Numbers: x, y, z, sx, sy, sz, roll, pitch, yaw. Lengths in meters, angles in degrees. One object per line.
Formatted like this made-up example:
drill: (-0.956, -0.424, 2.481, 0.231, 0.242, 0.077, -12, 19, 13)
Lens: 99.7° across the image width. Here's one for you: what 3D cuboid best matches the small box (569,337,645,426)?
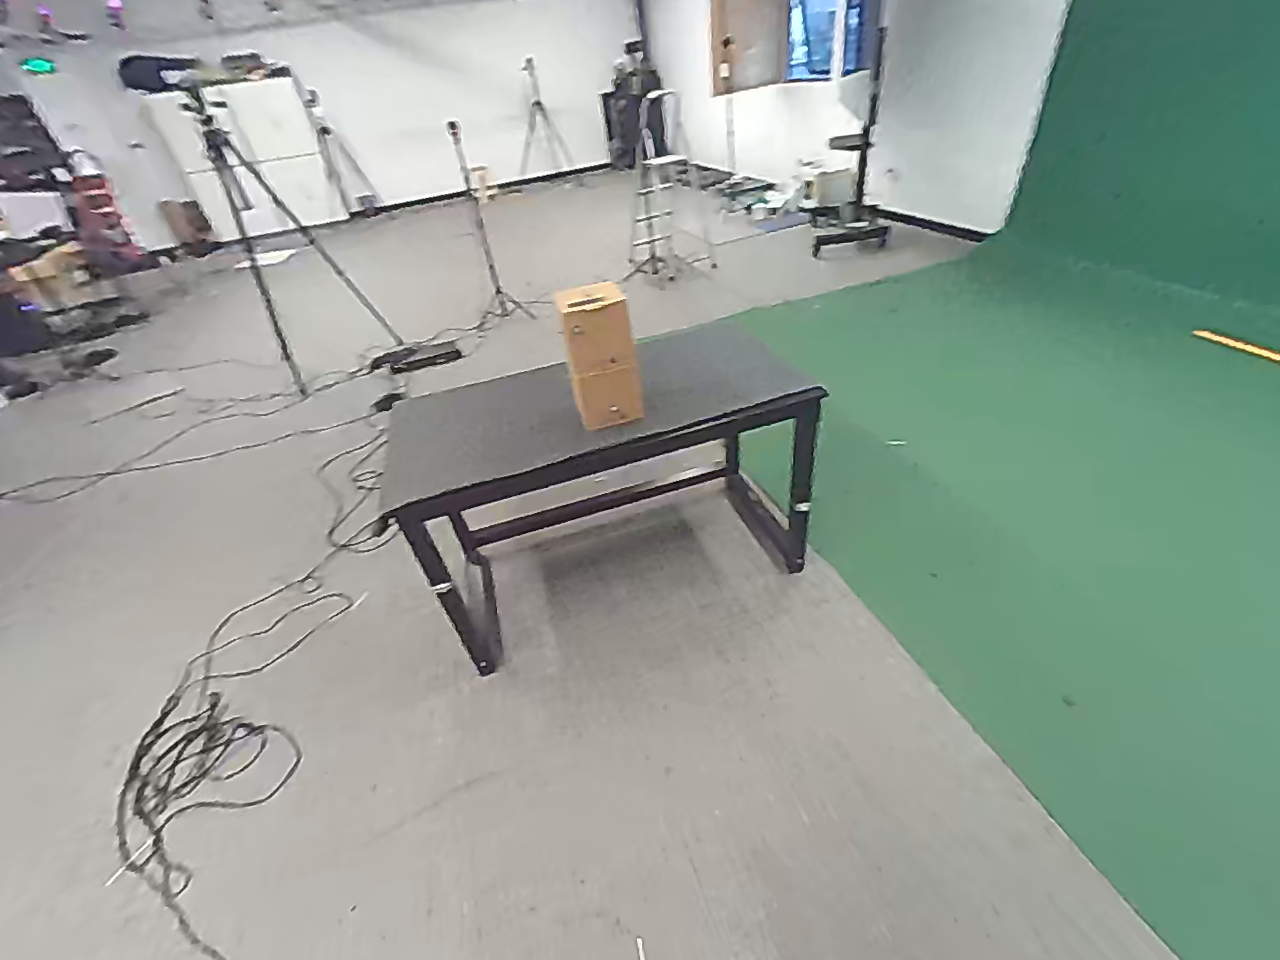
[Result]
small box: (-0.091, -0.275, 1.505, 0.168, 0.176, 0.179, -16, 38, -8)
